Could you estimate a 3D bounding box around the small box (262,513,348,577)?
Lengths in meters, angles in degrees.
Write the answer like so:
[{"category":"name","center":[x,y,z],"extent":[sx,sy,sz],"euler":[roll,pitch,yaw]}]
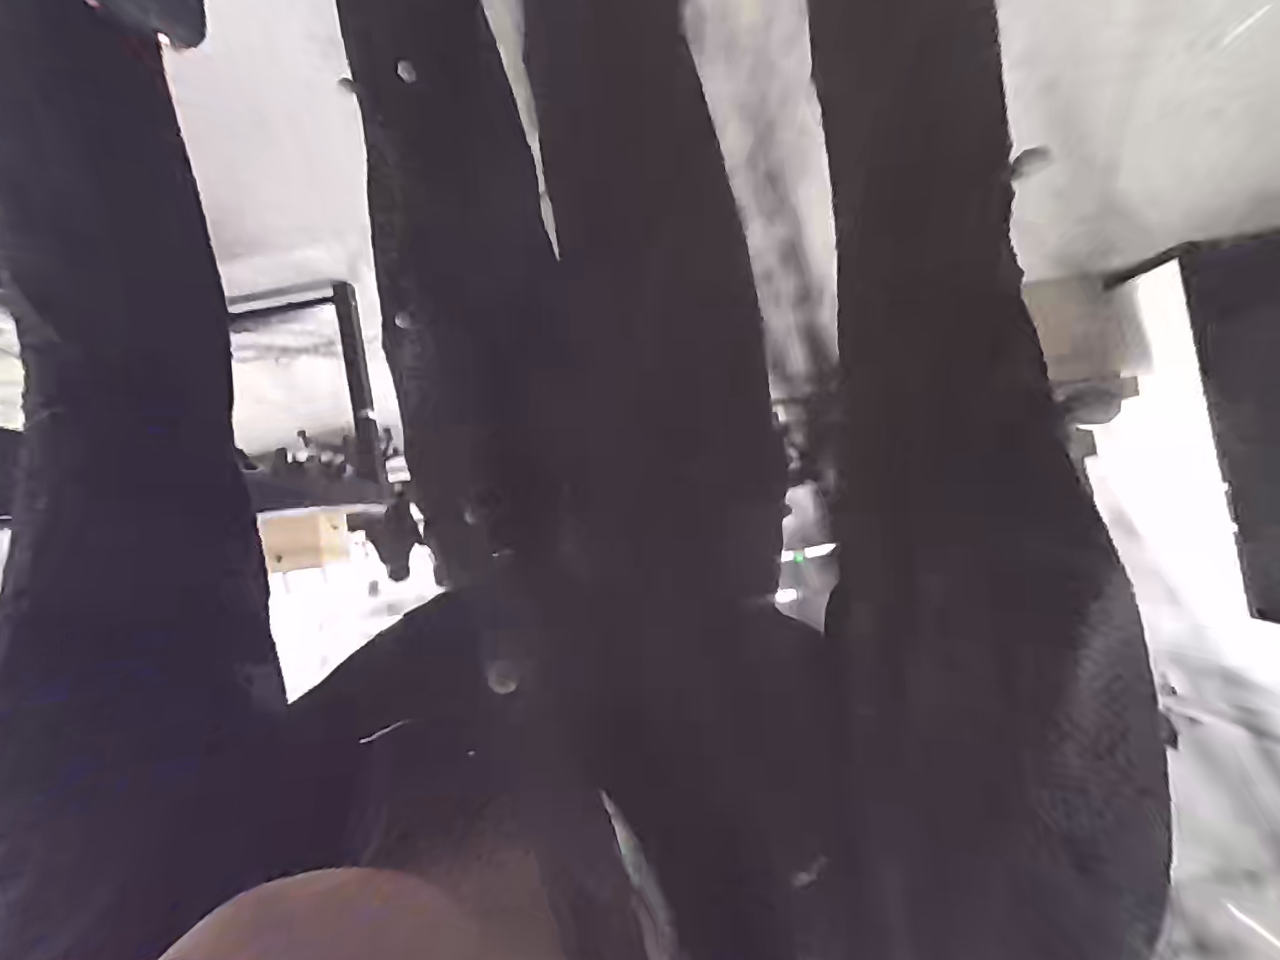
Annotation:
[{"category":"small box","center":[-1.038,0.198,1.679],"extent":[0.179,0.176,0.168],"euler":[-8,178,-1]}]
